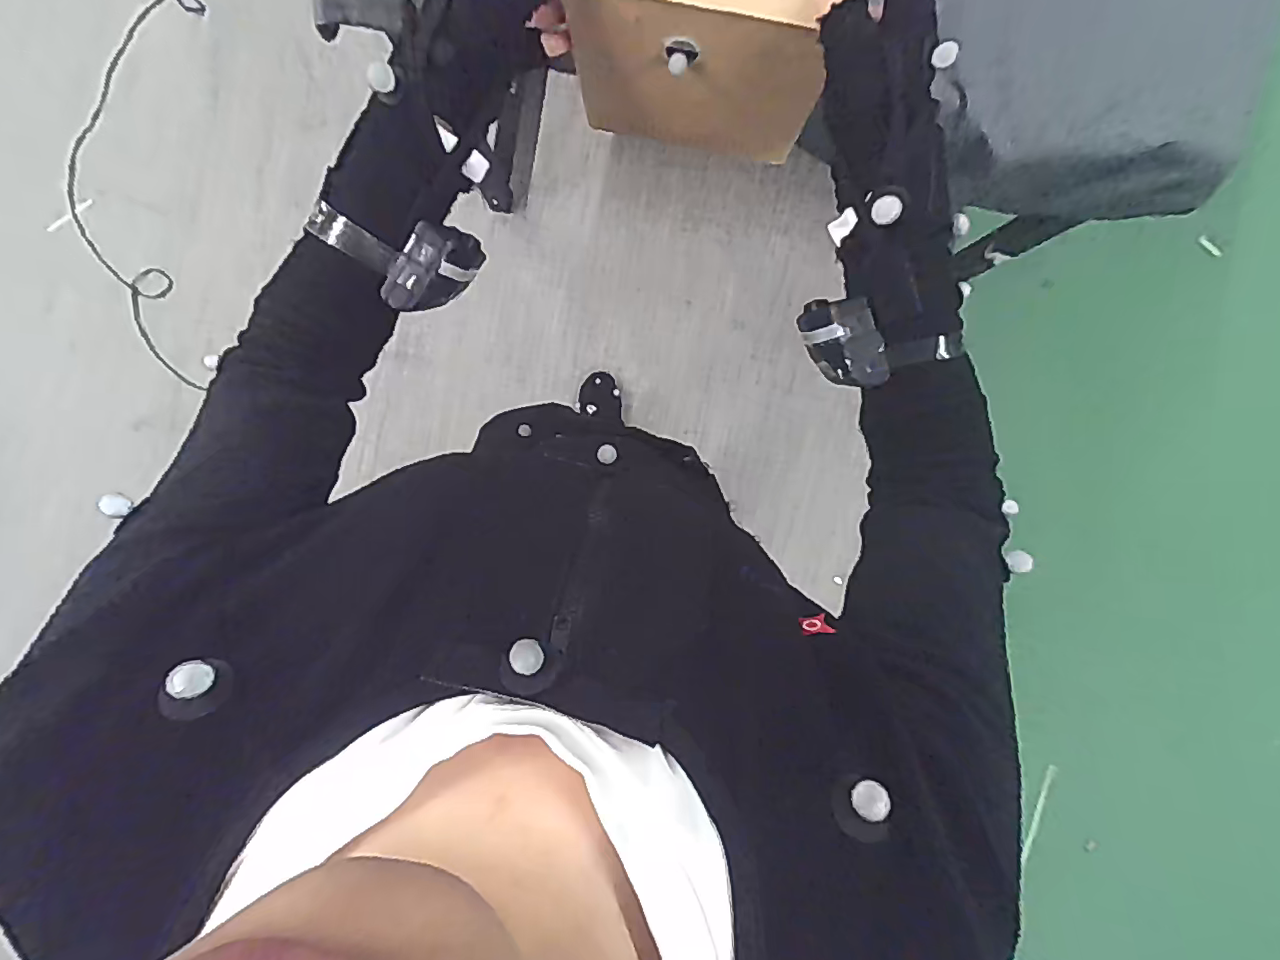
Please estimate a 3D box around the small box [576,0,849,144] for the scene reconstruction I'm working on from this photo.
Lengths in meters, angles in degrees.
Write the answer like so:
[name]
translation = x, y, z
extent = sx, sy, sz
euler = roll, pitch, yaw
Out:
[small box]
translation = 0.052, -0.372, 0.383
extent = 0.179, 0.176, 0.168
euler = 11, 98, -1
